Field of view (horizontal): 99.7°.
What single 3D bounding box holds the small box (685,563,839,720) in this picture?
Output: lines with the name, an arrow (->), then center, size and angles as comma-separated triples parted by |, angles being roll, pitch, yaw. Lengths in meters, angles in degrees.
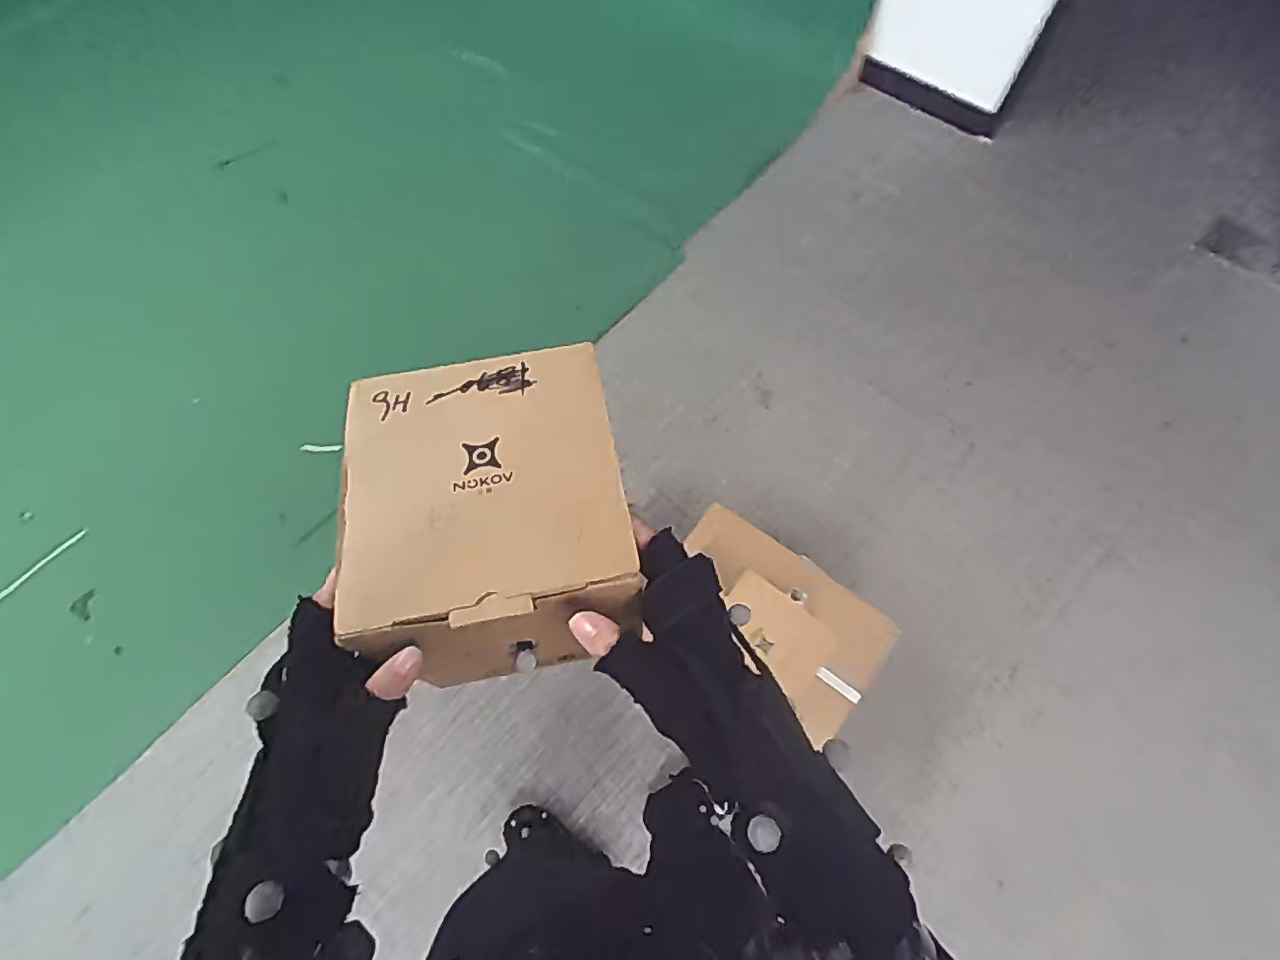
small box -> 0.191, 0.266, 0.897 | 0.179, 0.176, 0.168 | 37, 80, 15

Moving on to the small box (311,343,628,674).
small box -> -0.105, 0.034, 0.392 | 0.168, 0.176, 0.179 | -11, 63, -4
